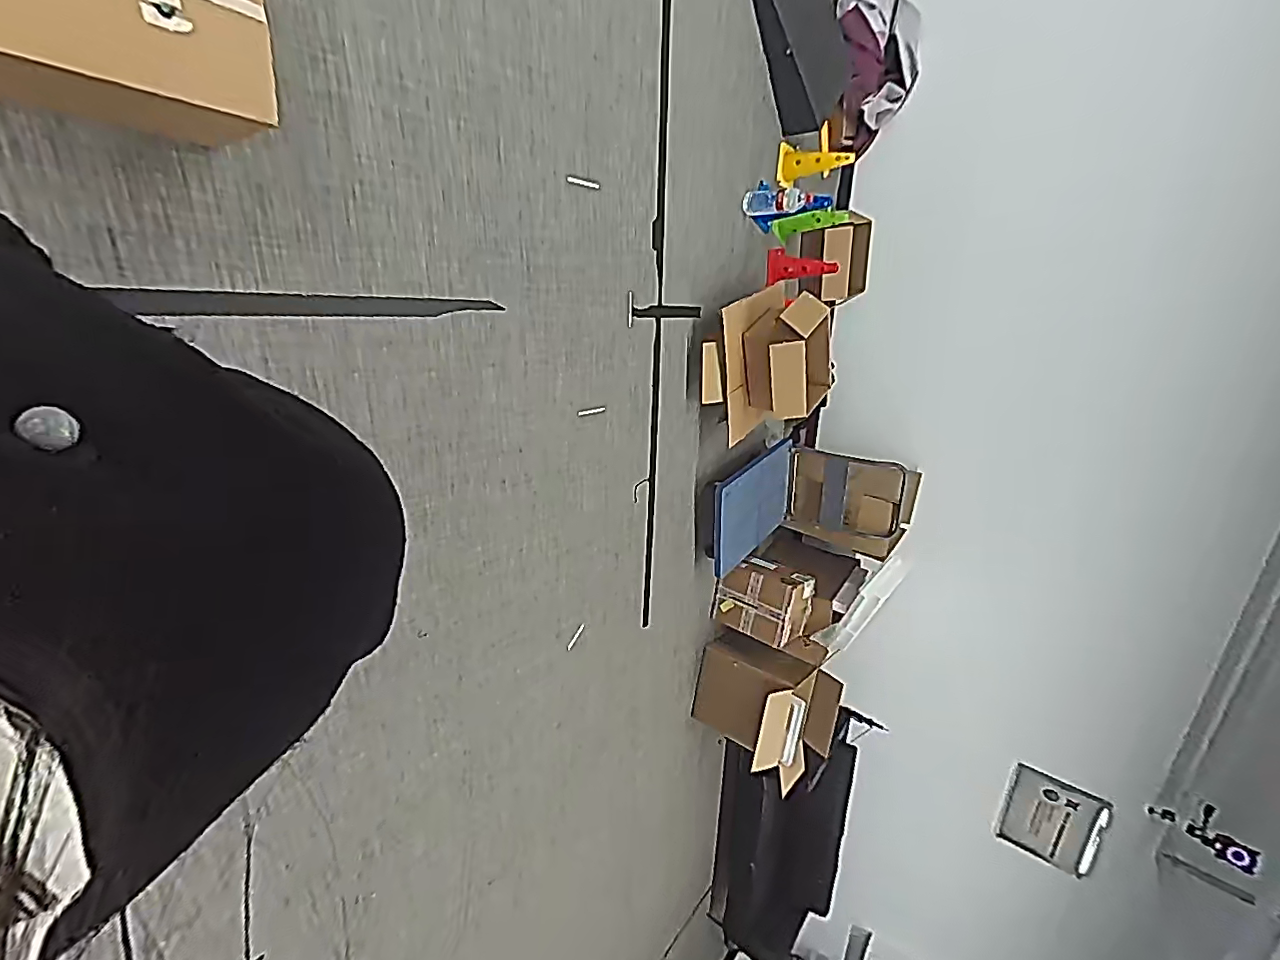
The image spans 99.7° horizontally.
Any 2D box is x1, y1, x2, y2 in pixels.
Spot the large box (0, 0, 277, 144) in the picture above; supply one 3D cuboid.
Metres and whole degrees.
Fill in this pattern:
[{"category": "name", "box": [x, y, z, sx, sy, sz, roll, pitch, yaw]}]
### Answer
[{"category": "large box", "box": [-0.856, -0.752, 0.819, 0.408, 0.320, 0.320, -18, 118, -50]}]
